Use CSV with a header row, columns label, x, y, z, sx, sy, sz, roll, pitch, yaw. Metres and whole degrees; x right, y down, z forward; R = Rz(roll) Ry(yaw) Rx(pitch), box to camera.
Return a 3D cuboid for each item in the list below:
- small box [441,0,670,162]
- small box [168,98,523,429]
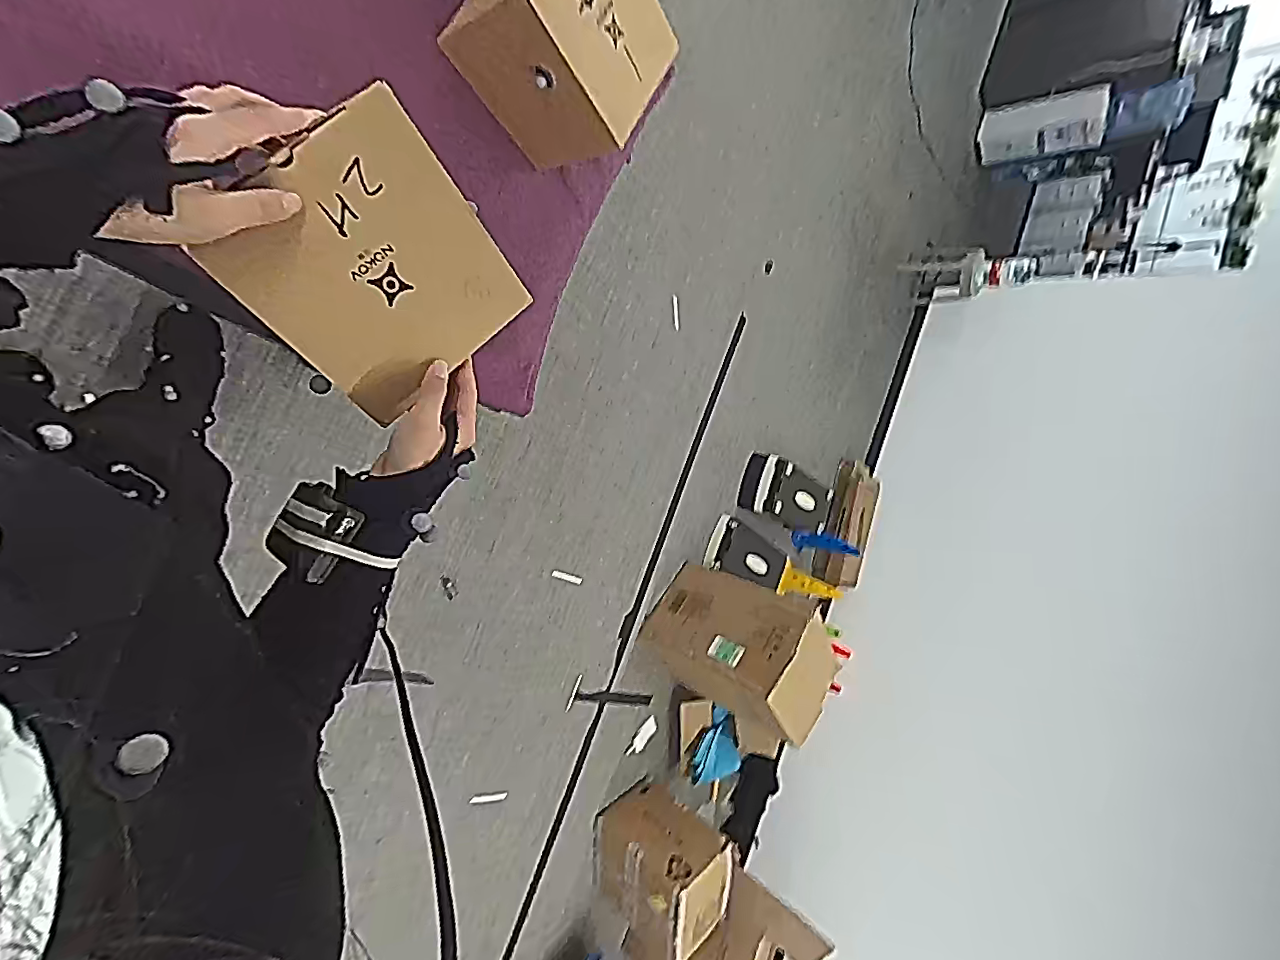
label,x,y,z,sx,sy,sz,roll,pitch,yaw
small box,-0.100,-0.518,0.646,0.179,0.176,0.168,39,73,-48
small box,-0.237,-0.179,0.453,0.168,0.176,0.179,-44,133,-11
